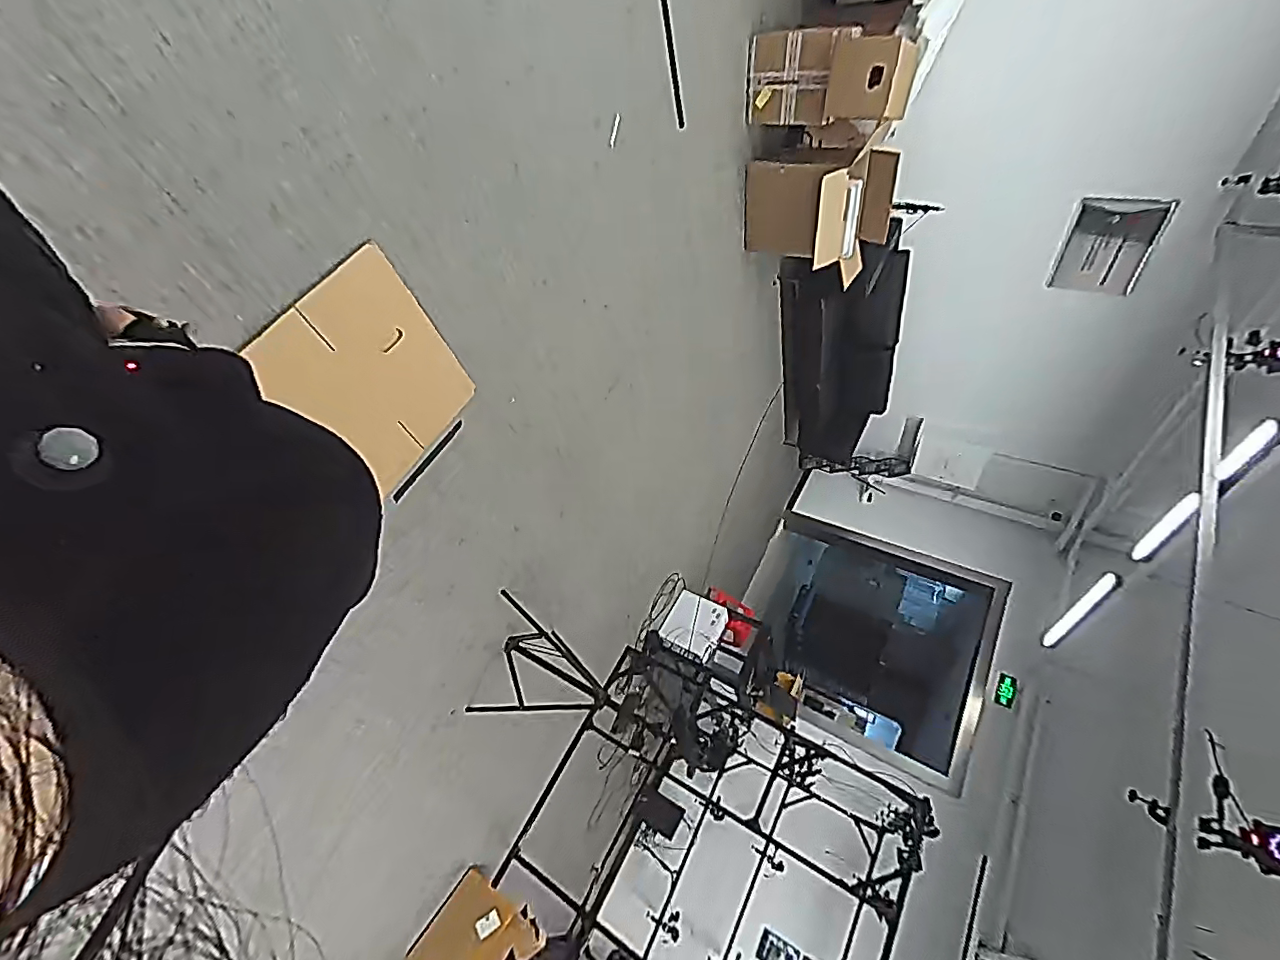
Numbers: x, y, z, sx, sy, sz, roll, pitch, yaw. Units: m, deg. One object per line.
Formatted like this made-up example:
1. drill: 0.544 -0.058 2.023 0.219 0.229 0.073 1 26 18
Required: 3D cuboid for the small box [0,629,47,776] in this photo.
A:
1. small box: -1.022 0.340 0.790 0.179 0.176 0.168 -4 109 -59
